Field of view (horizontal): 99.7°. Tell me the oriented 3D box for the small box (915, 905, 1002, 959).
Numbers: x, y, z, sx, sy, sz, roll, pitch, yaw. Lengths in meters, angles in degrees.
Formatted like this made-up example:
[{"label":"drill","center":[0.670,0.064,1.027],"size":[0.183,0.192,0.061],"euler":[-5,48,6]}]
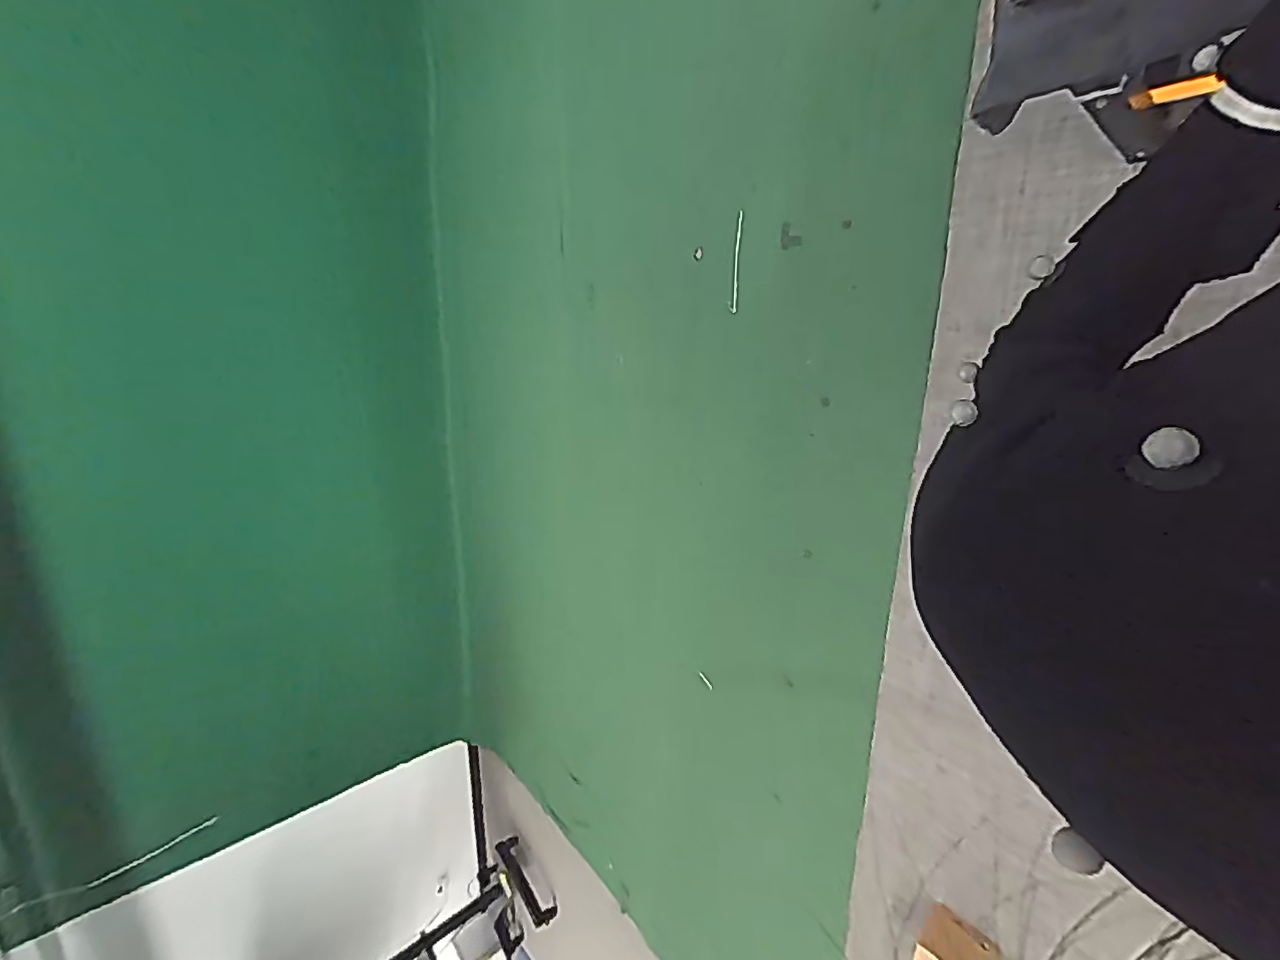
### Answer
[{"label":"small box","center":[0.890,1.363,1.520],"size":[0.168,0.176,0.179],"euler":[19,114,46]}]
